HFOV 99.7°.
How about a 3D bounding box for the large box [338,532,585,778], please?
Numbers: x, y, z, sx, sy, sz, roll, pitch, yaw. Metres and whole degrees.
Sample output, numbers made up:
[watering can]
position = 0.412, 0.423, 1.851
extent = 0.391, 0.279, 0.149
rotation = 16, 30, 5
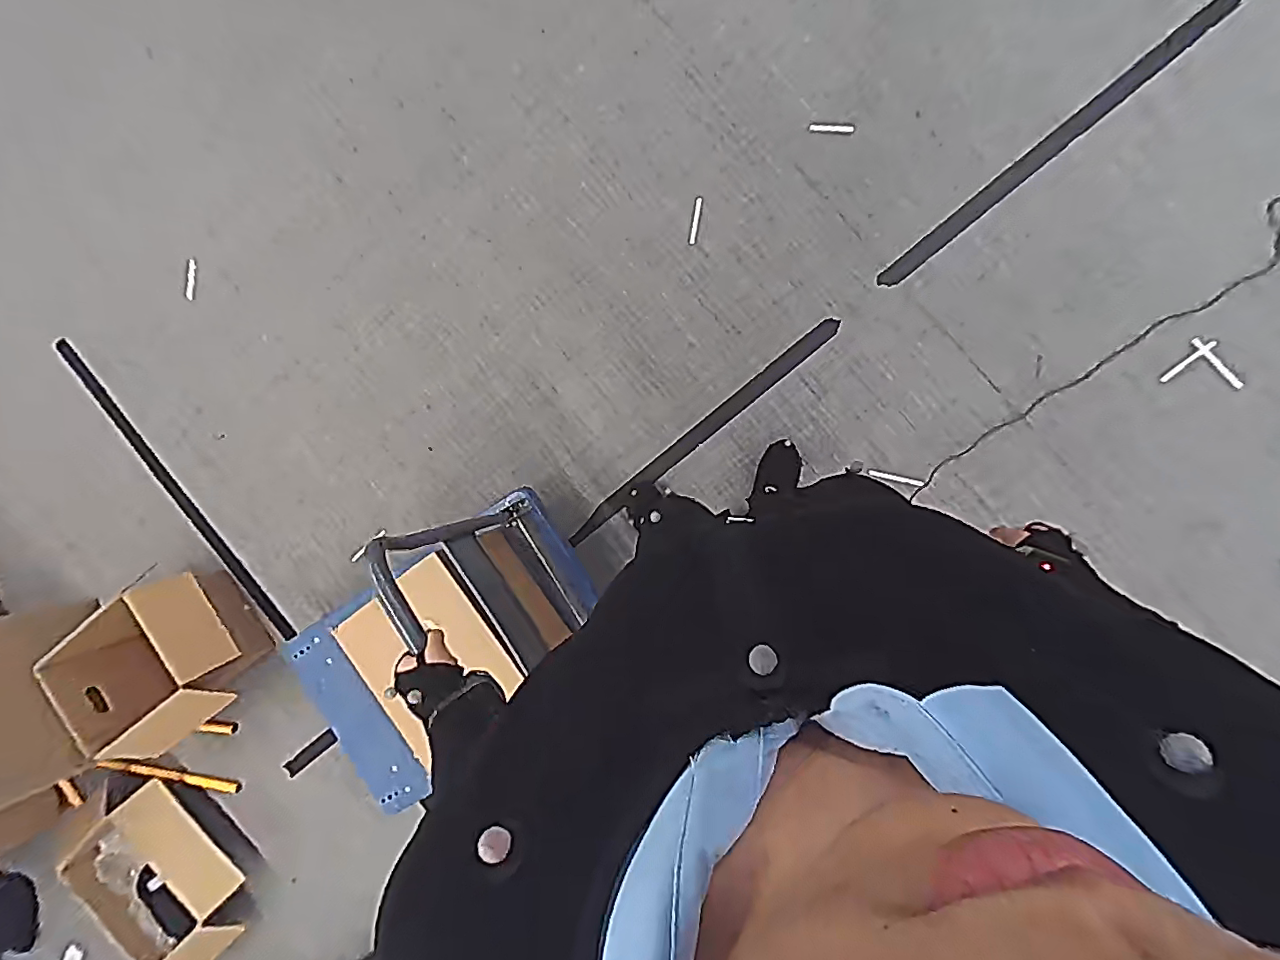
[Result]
[large box]
position = -0.396, 0.387, 1.286
extent = 0.320, 0.320, 0.408
rotation = -37, 87, 9
